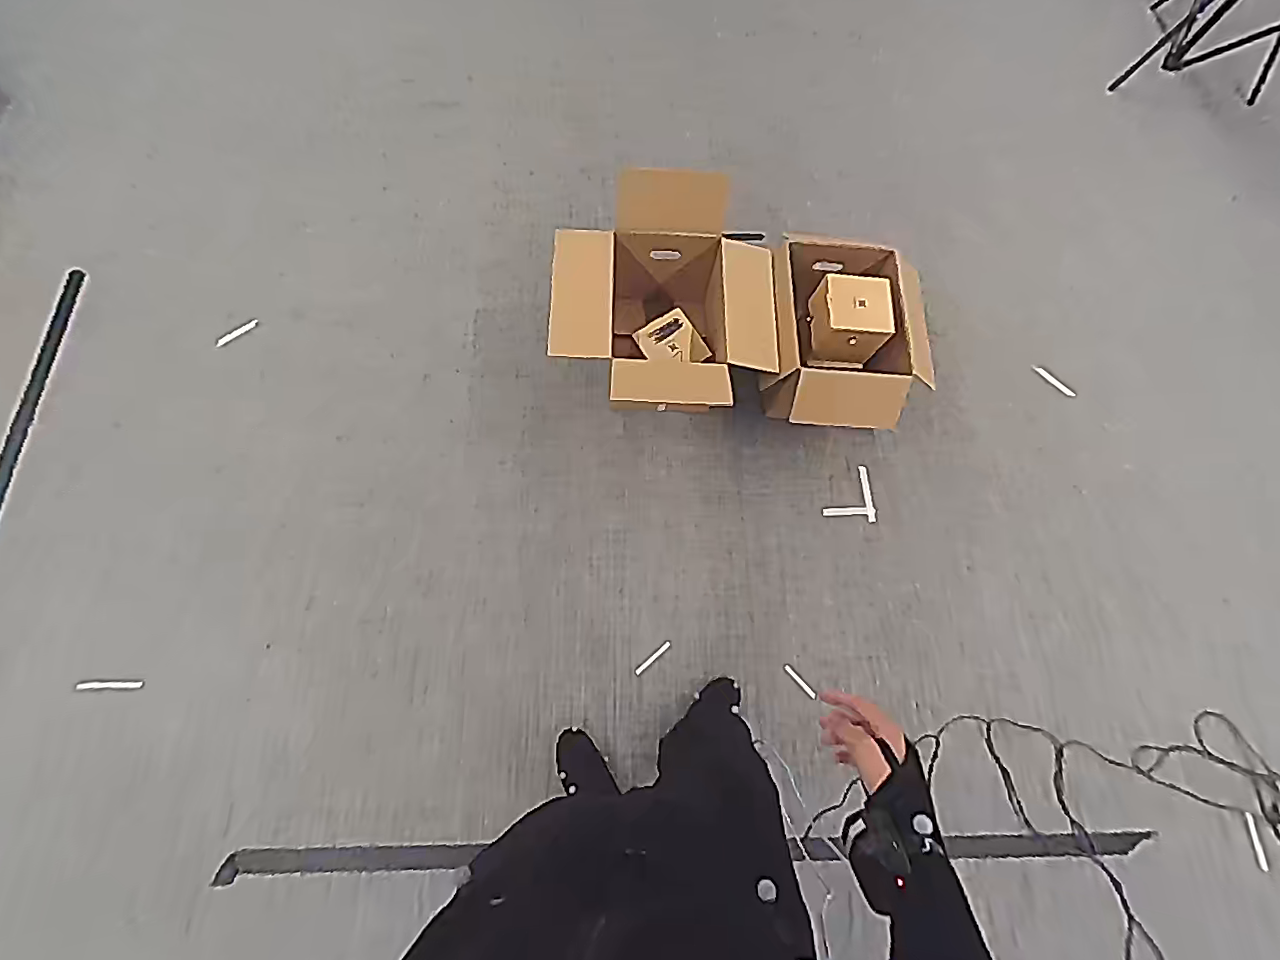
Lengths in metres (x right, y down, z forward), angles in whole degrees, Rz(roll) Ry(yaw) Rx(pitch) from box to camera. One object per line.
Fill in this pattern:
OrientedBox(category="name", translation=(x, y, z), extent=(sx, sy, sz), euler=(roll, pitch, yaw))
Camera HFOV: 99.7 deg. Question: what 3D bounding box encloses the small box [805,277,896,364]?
OrientedBox(category="small box", translation=(0.571, -0.431, 1.484), extent=(0.179, 0.176, 0.168), euler=(3, 74, -3))
